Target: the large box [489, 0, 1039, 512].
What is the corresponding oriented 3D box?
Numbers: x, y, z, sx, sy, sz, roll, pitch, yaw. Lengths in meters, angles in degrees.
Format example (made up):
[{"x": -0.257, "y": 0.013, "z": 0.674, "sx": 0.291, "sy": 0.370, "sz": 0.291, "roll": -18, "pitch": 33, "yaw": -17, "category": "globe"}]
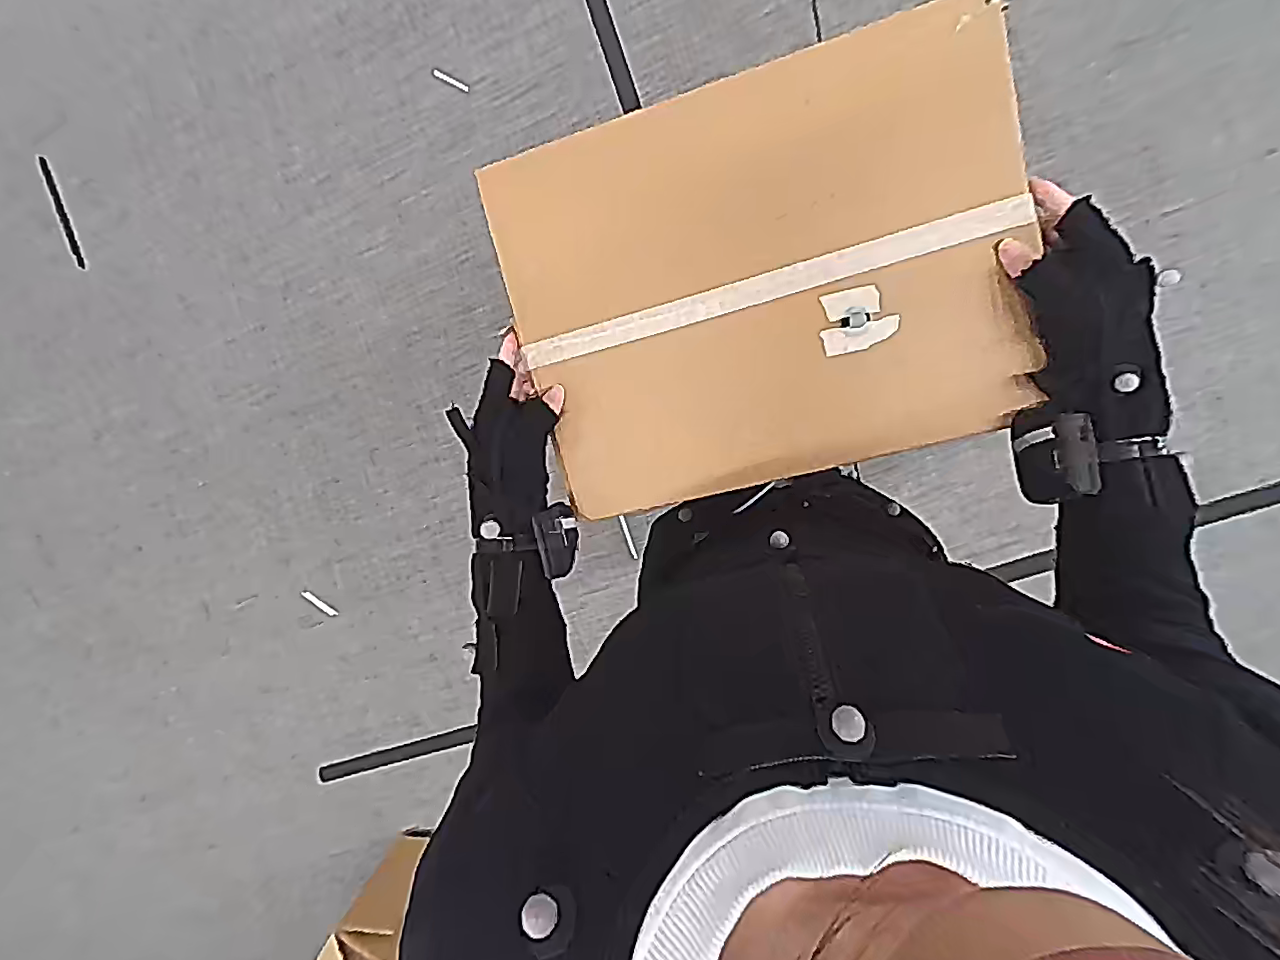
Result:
[{"x": 0.115, "y": -0.186, "z": 0.596, "sx": 0.408, "sy": 0.320, "sz": 0.320, "roll": -14, "pitch": 99, "yaw": 10, "category": "large box"}]
